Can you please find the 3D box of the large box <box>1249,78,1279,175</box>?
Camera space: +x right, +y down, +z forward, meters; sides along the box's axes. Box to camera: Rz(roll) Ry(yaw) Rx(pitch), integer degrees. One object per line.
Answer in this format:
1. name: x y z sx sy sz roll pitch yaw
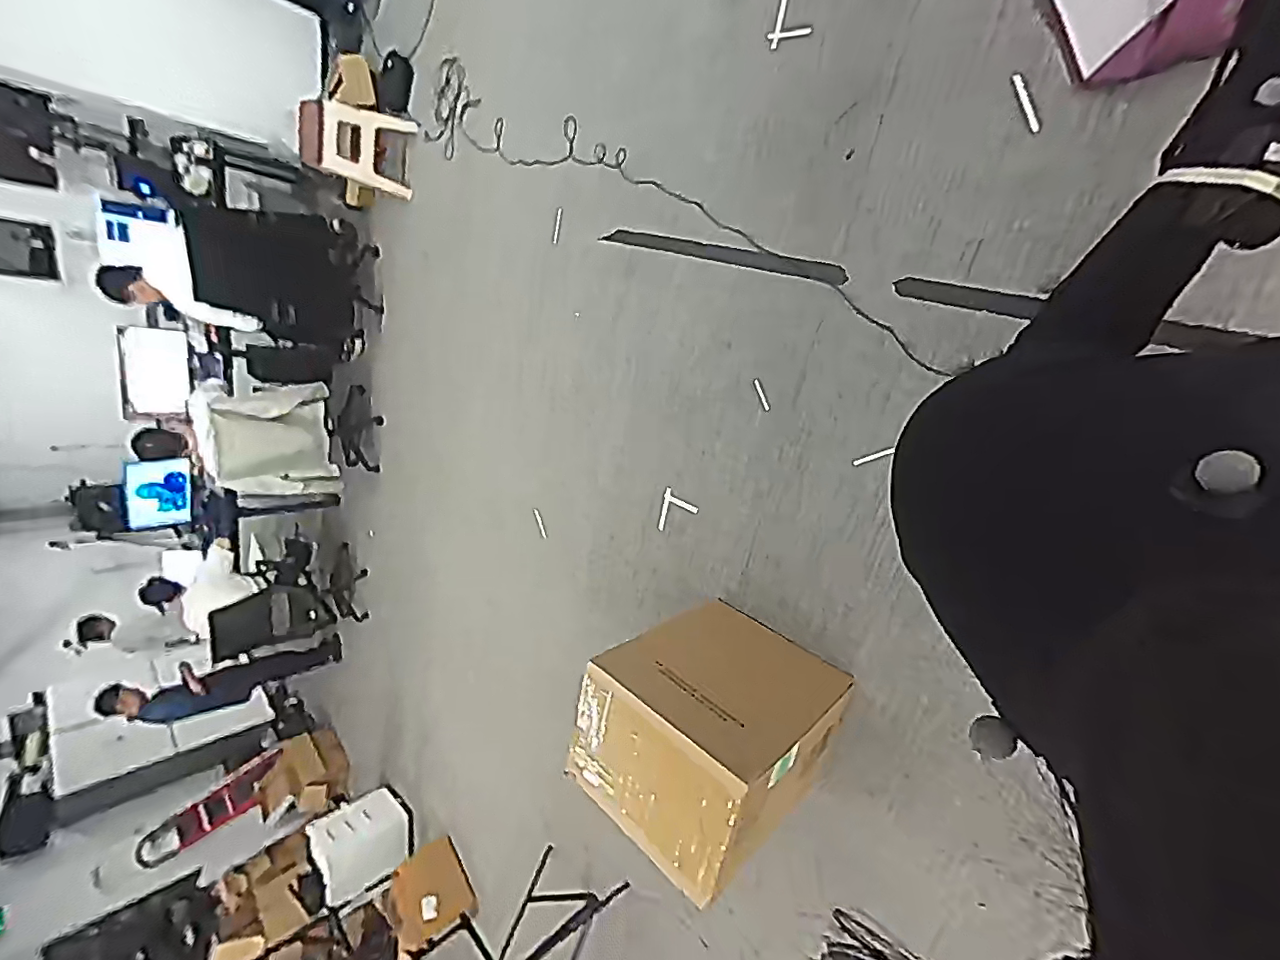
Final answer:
1. large box: 0.686 -0.329 0.286 0.408 0.320 0.320 33 130 35
